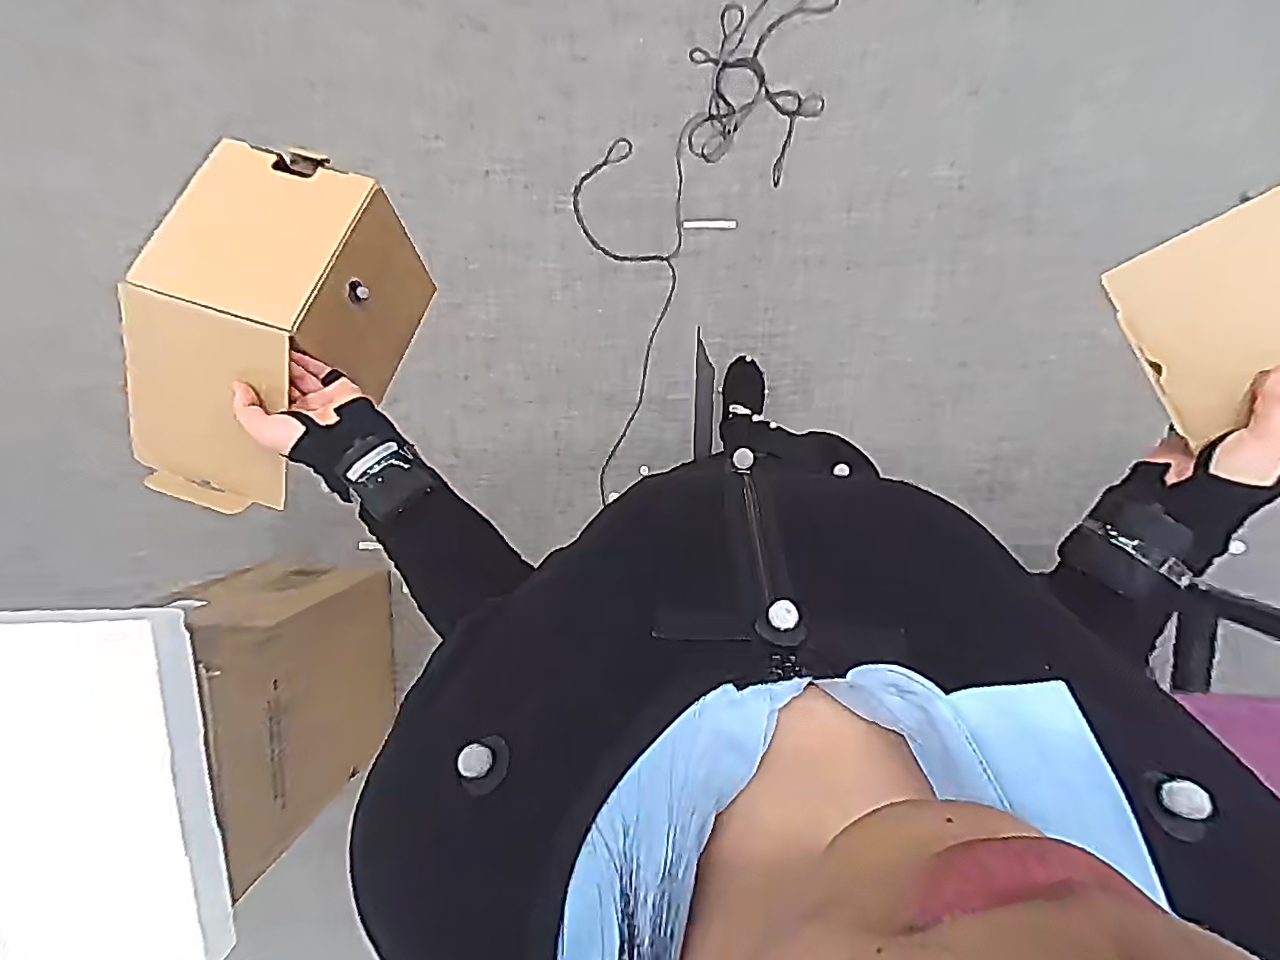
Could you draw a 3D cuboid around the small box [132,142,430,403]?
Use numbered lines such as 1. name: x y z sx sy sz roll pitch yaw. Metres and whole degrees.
1. small box: -0.351 -0.205 0.574 0.168 0.176 0.179 17 73 4
